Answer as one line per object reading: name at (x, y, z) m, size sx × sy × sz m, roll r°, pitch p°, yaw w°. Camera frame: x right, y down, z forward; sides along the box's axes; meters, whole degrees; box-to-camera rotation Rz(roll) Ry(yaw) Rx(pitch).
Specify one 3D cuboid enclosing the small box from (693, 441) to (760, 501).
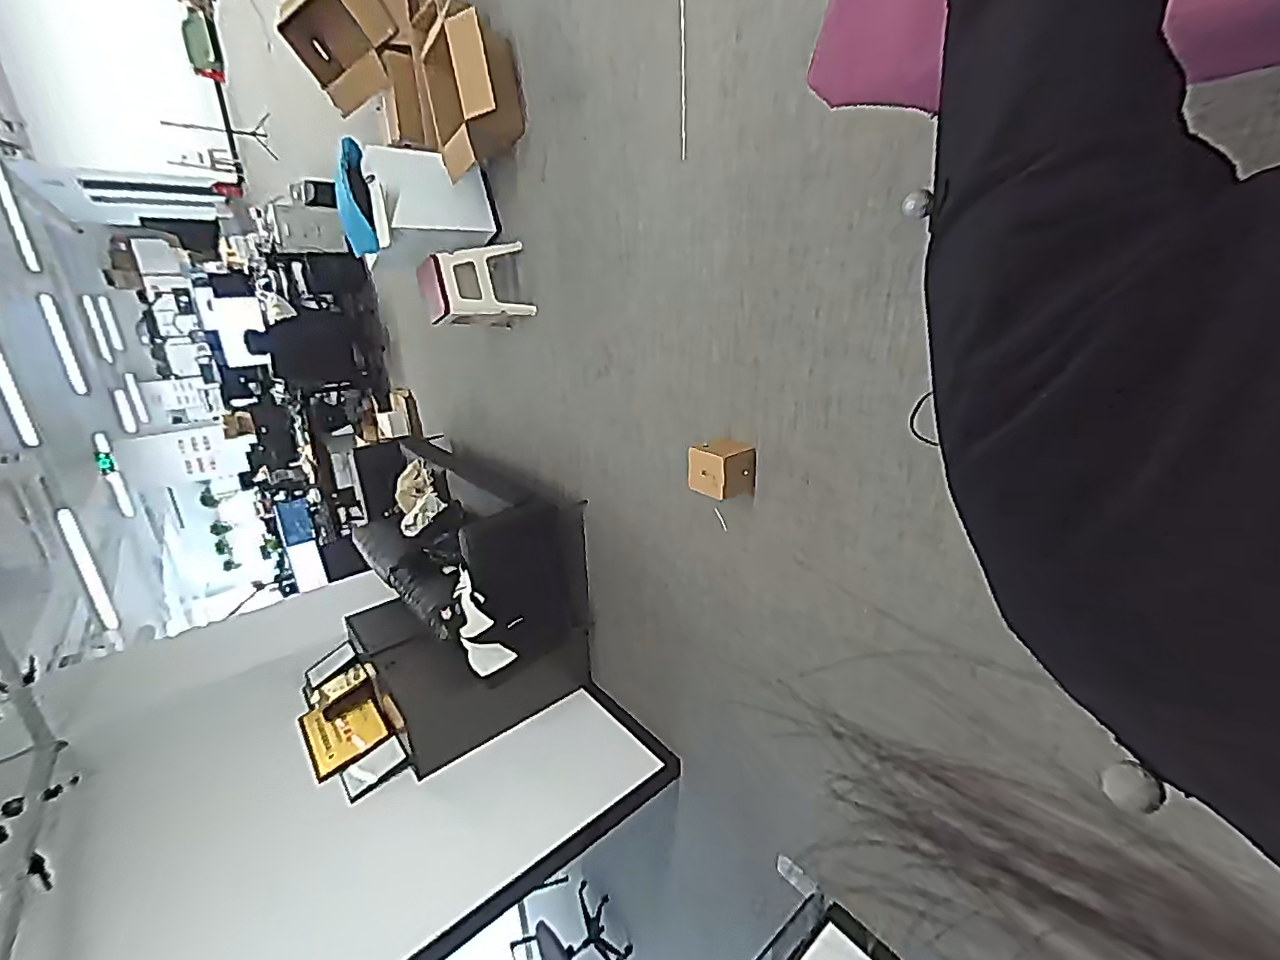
small box at (0.317, -0.040, 1.992) m, size 0.179 × 0.176 × 0.168 m, roll 22°, pitch 121°, yaw 46°
